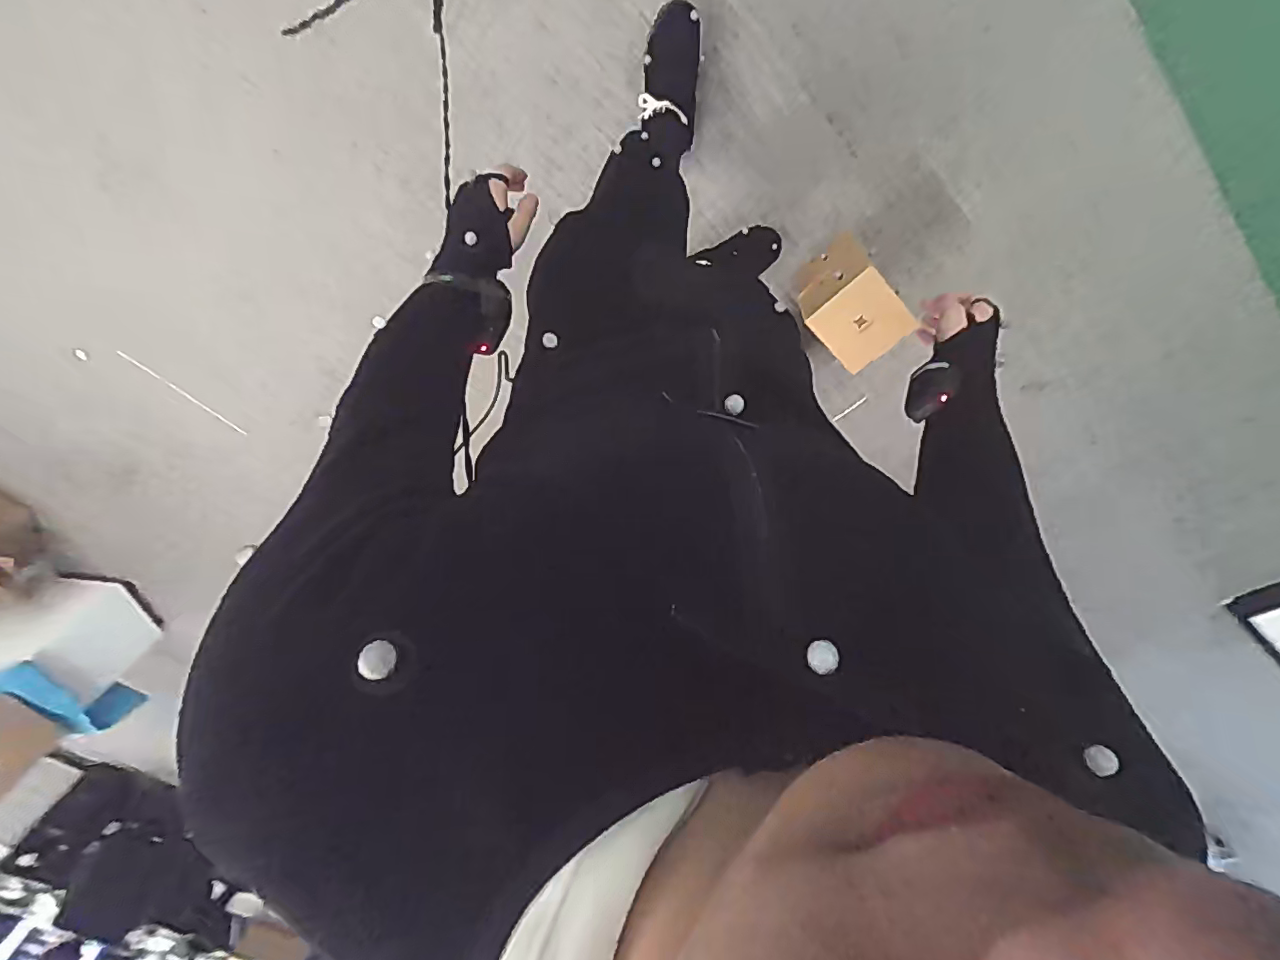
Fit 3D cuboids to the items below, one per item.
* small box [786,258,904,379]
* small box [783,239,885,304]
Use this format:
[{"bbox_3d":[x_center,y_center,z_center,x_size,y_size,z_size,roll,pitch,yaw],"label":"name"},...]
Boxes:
[{"bbox_3d":[0.441,-0.362,1.191,0.179,0.176,0.168,41,122,-20],"label":"small box"},{"bbox_3d":[0.466,-0.460,1.319,0.168,0.176,0.179,-33,115,30],"label":"small box"}]
